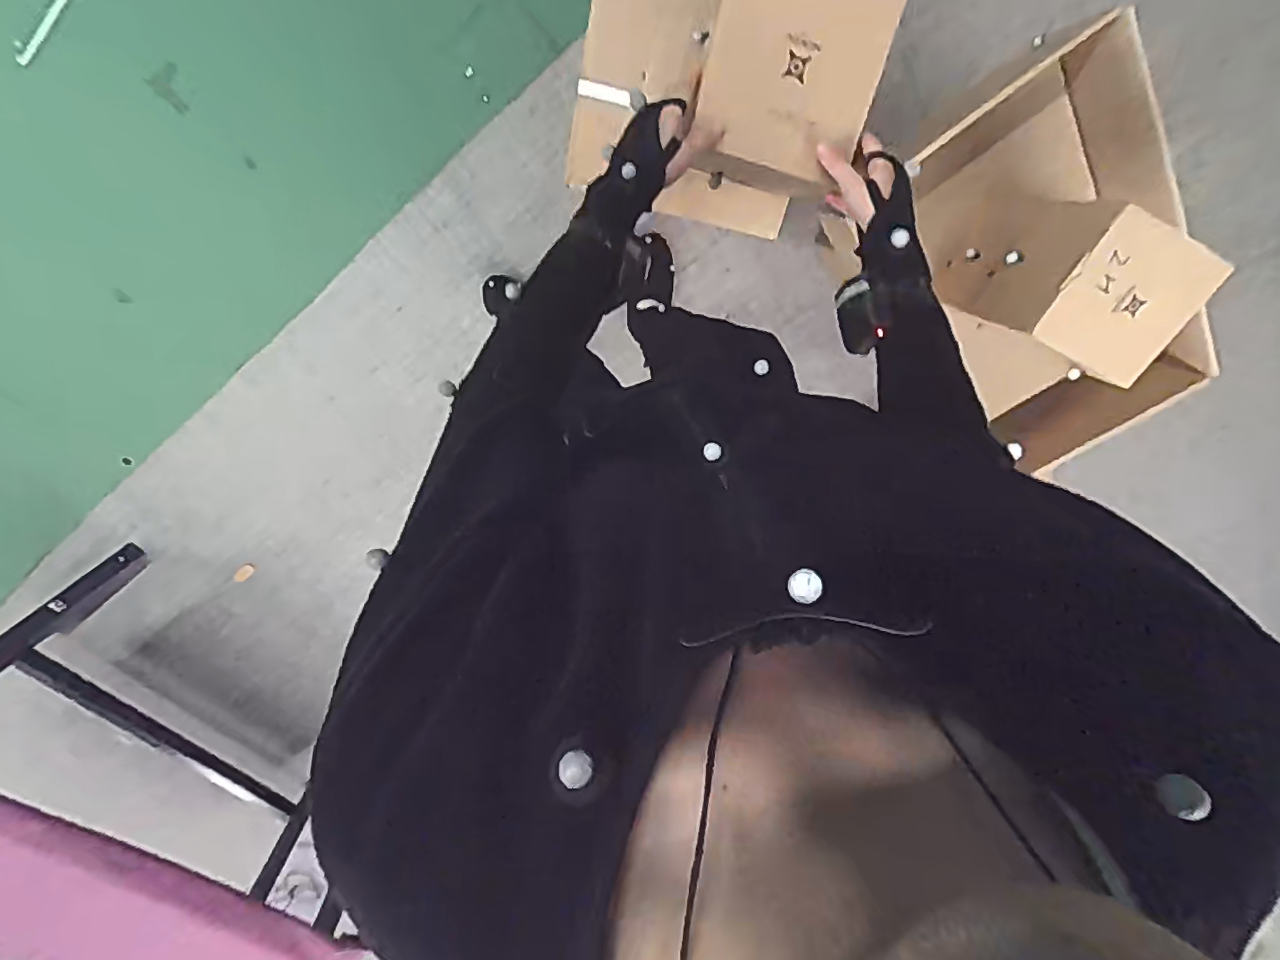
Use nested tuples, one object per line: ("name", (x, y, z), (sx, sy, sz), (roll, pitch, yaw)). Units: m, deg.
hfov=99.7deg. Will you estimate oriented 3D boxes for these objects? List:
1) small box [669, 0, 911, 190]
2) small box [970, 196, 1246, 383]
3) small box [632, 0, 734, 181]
("small box", (0.136, -0.416, 0.554), (0.168, 0.176, 0.179), (10, 114, -11))
("small box", (0.595, -0.257, 0.716), (0.179, 0.176, 0.168), (22, 115, -11))
("small box", (0.087, -0.586, 0.839), (0.168, 0.176, 0.179), (14, 117, -8))
